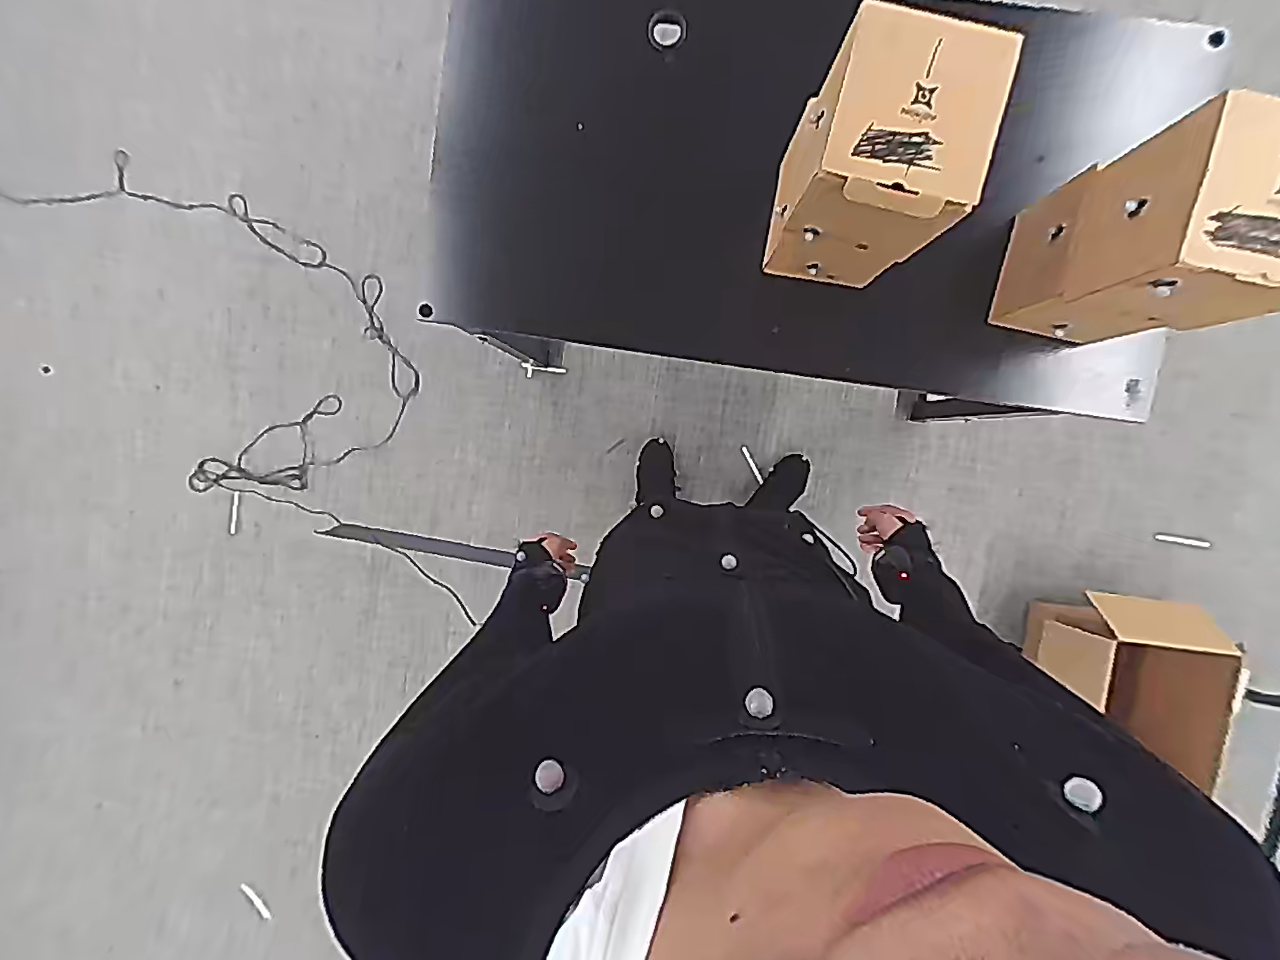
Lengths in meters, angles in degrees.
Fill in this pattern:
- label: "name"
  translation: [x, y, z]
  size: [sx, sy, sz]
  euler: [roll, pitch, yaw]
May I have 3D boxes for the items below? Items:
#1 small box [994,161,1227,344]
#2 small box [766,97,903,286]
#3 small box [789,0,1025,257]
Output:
- label: "small box"
  translation: [0.647, -0.309, 0.770]
  size: [0.168, 0.176, 0.179]
  euler: [14, 95, 3]
- label: "small box"
  translation: [0.289, -0.402, 0.781]
  size: [0.168, 0.176, 0.179]
  euler: [9, 95, 2]
- label: "small box"
  translation: [0.282, -0.380, 0.618]
  size: [0.168, 0.176, 0.179]
  euler: [15, 95, 1]
